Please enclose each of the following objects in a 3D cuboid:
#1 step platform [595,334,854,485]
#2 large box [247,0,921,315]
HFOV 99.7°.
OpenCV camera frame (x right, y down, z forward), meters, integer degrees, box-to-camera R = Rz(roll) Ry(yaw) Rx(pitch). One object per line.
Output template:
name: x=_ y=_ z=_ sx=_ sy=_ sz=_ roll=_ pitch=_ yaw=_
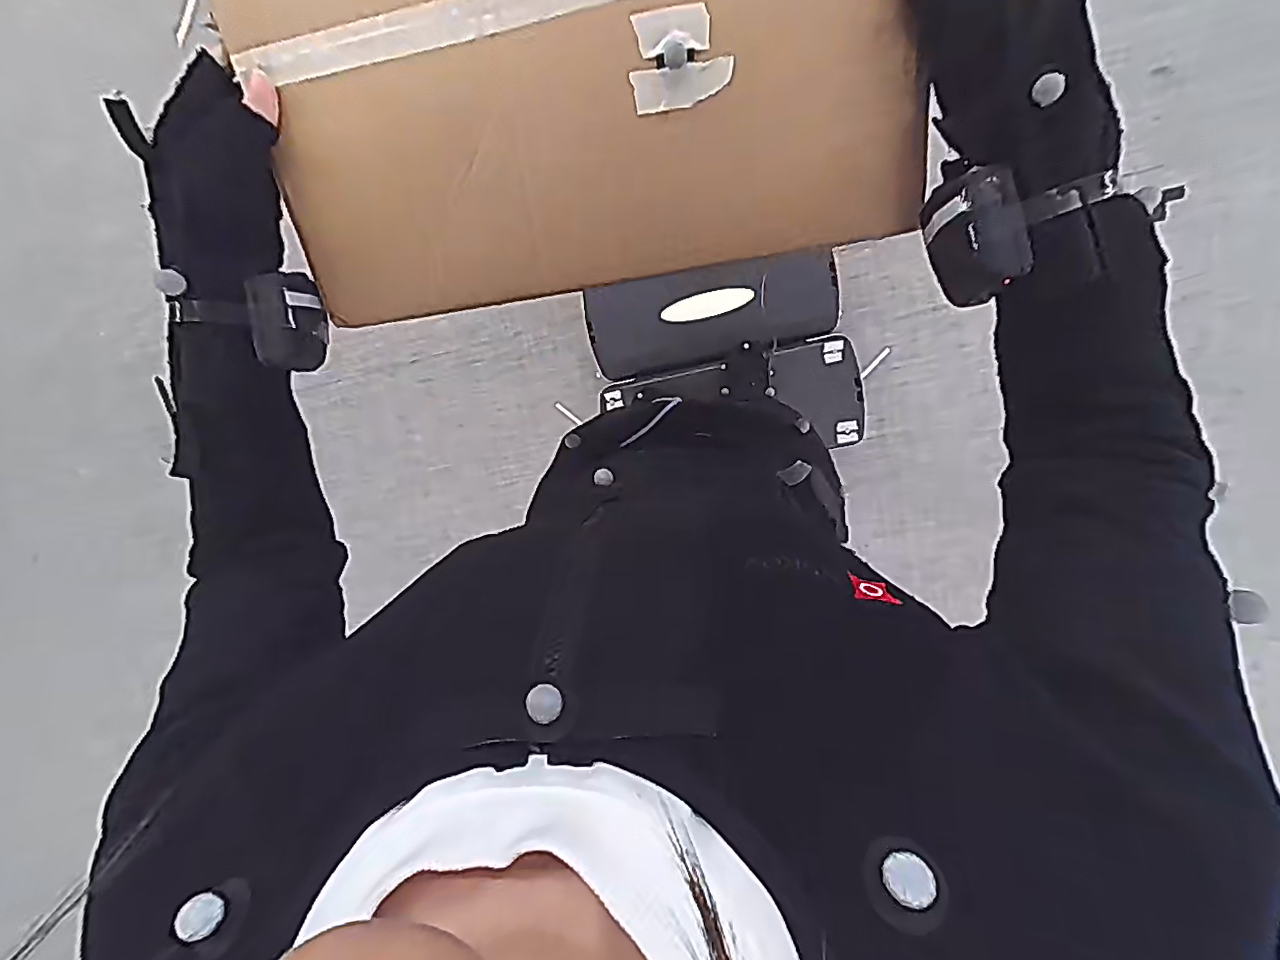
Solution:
step platform: x=0.223 y=-0.186 z=1.486 sx=0.684 sy=0.204 sz=0.286 roll=-11 pitch=100 yaw=13
large box: x=-0.030 y=-0.344 z=0.453 sx=0.408 sy=0.320 sz=0.320 roll=-7 pitch=113 yaw=9
